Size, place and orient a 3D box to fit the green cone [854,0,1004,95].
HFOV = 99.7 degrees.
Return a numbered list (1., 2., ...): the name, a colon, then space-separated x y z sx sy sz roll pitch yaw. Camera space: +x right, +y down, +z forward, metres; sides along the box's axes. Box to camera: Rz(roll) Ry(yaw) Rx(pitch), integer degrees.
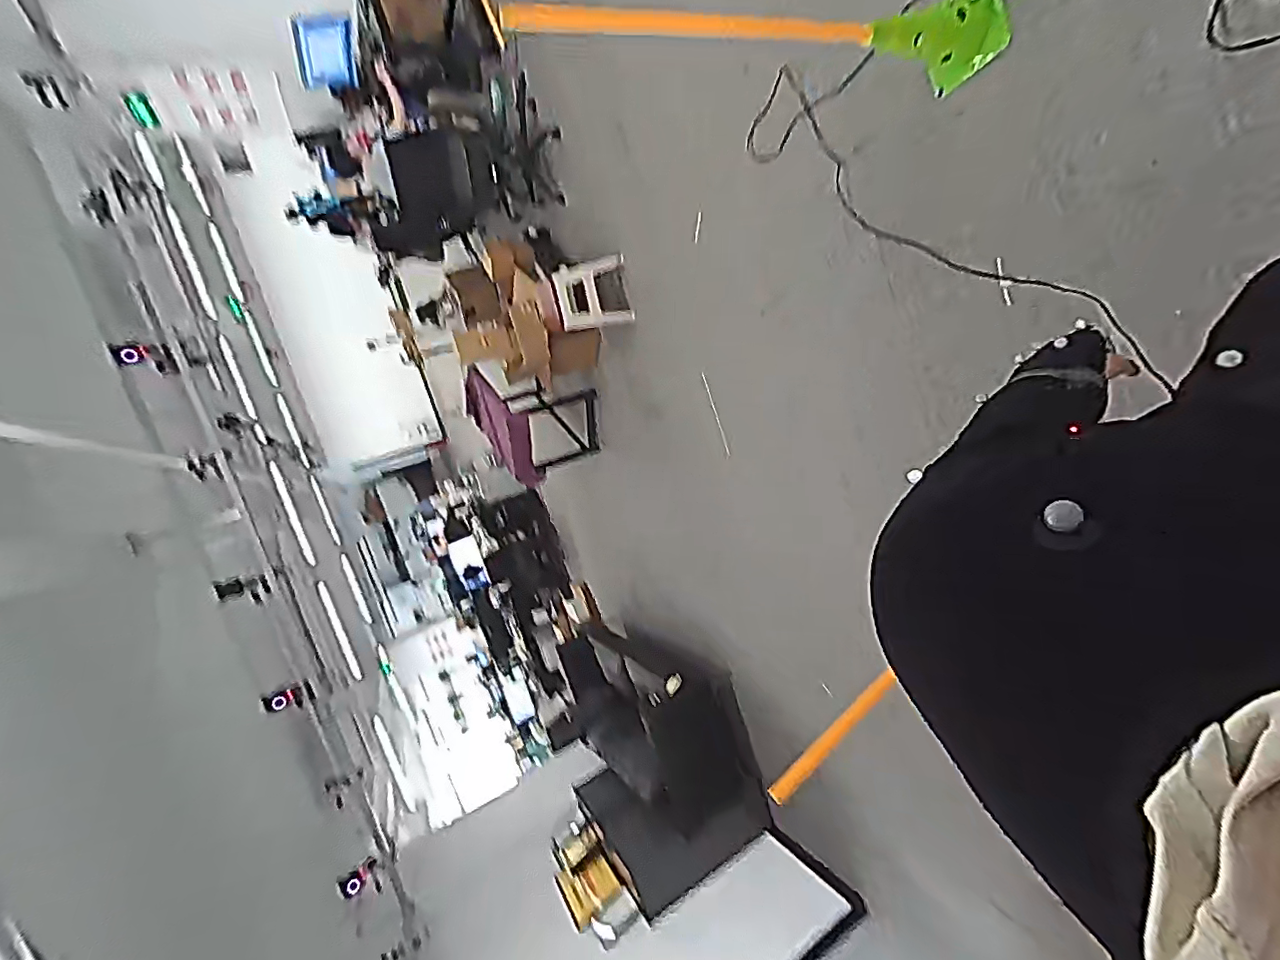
1. green cone: 0.662 -1.086 1.305 0.200 0.368 0.202 -12 97 66
